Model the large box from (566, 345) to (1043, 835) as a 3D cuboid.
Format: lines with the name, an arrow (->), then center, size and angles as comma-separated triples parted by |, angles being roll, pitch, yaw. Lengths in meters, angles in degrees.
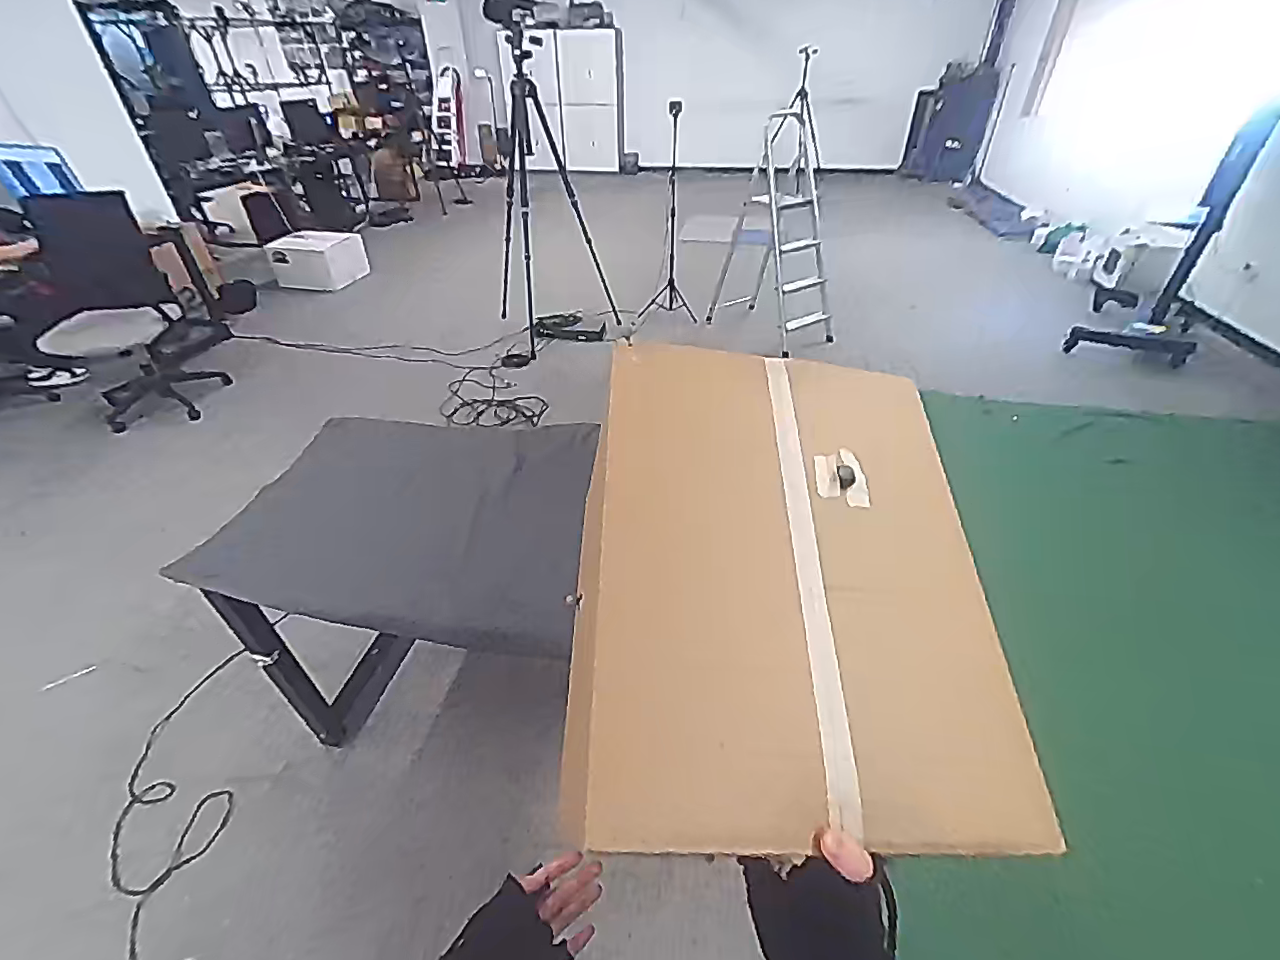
large box -> 0.092, 0.127, 0.562 | 0.320, 0.320, 0.408 | 6, 57, -8
